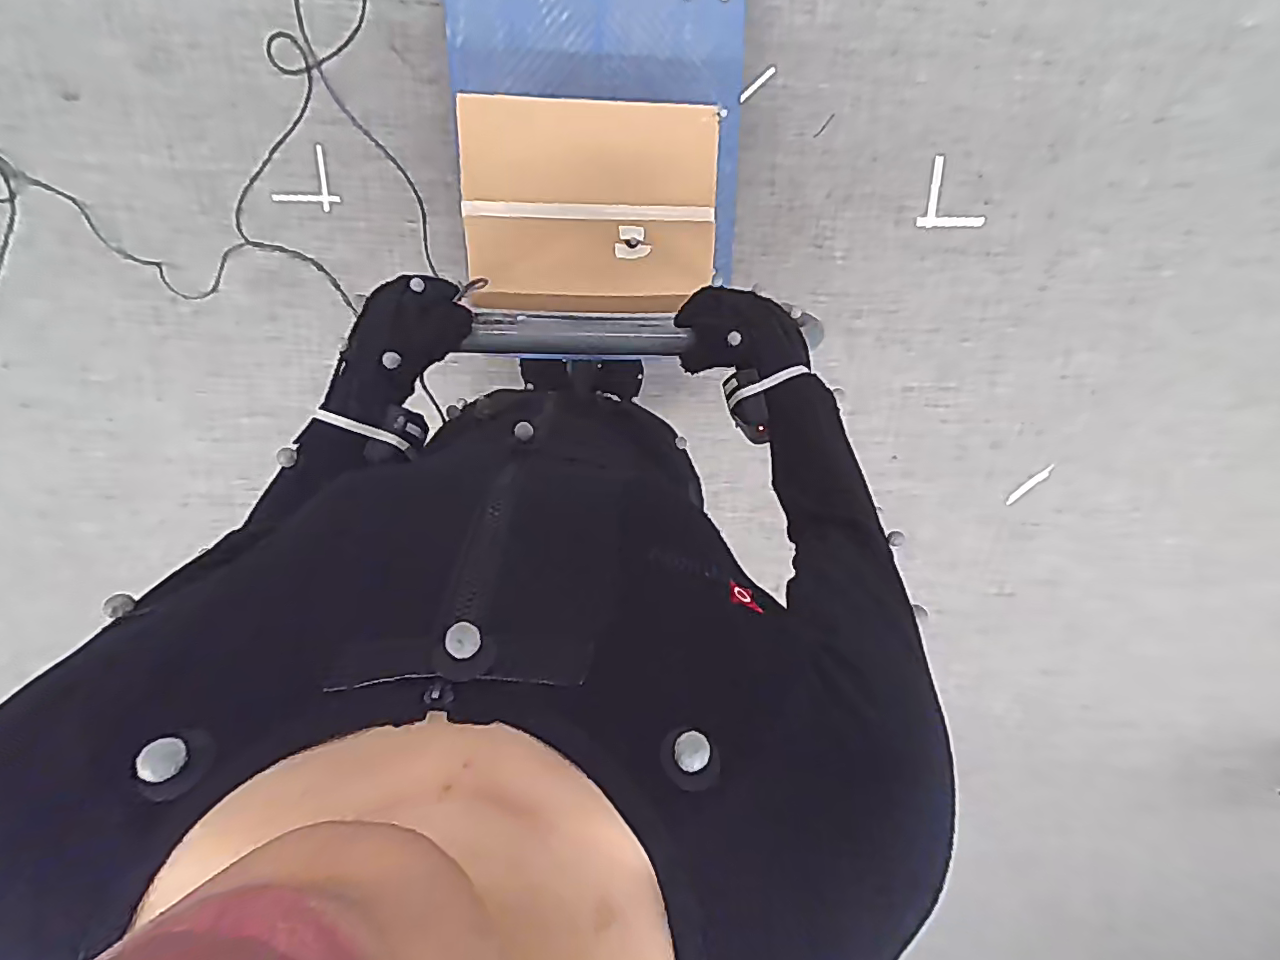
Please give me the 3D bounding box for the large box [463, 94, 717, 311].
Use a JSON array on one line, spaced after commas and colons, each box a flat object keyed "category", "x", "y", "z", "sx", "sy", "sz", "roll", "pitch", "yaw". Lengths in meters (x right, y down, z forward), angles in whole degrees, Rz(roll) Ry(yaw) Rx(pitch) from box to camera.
[{"category": "large box", "x": -0.089, "y": -0.490, "z": 1.028, "sx": 0.408, "sy": 0.320, "sz": 0.320, "roll": -1, "pitch": 107, "yaw": -5}]
